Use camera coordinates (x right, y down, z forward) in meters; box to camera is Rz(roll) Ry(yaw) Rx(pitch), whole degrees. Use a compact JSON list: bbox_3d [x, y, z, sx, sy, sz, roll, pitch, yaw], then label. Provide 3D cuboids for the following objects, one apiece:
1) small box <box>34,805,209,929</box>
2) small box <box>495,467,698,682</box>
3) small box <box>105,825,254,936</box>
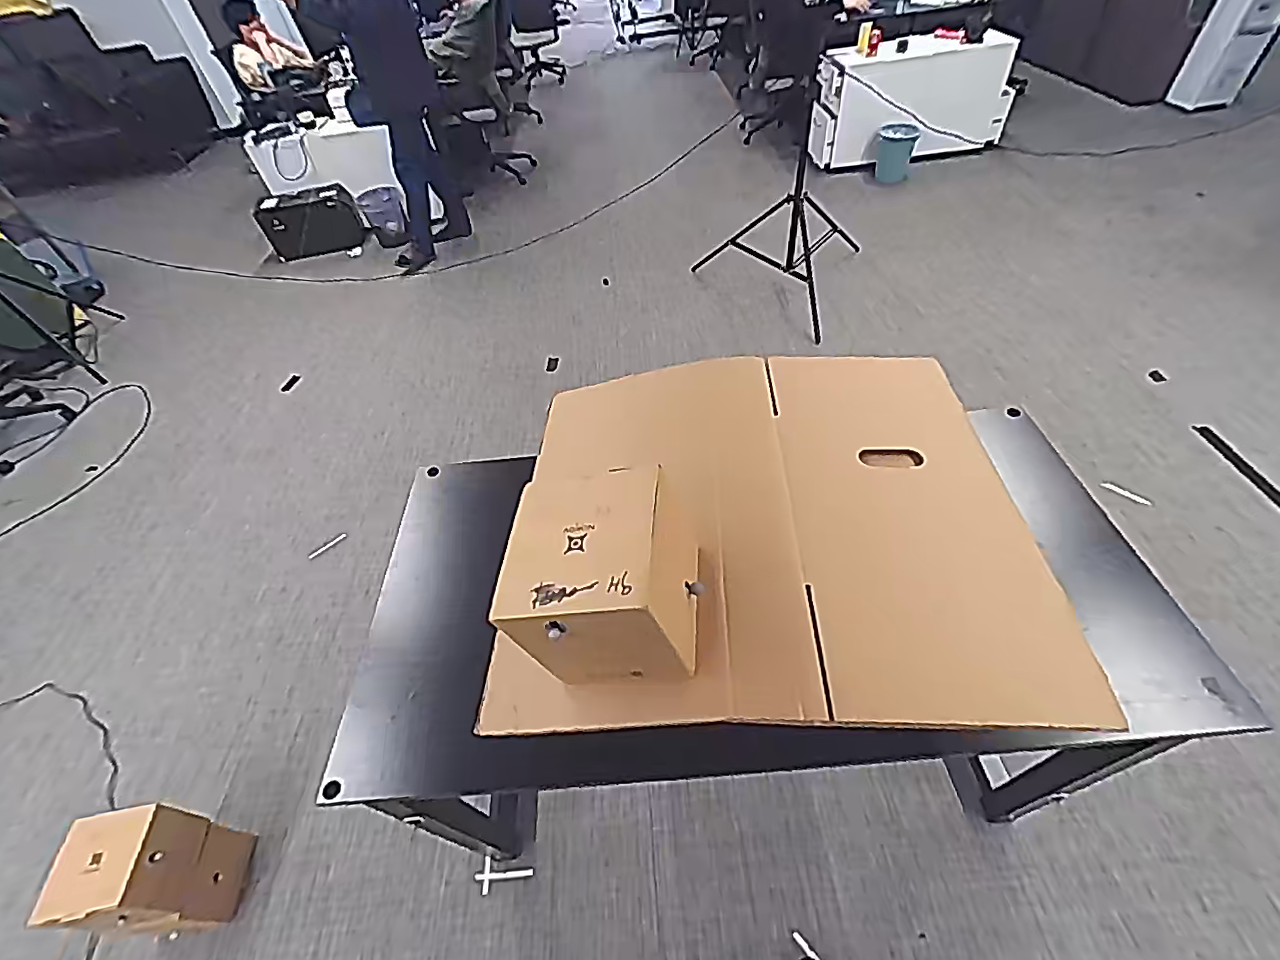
[{"bbox_3d":[-1.045,0.800,1.113,0.168,0.176,0.179,-11,47,-3],"label":"small box"},{"bbox_3d":[-0.034,0.112,0.618,0.168,0.176,0.179,-9,47,18],"label":"small box"},{"bbox_3d":[-1.027,0.912,1.230,0.168,0.176,0.179,-9,49,0],"label":"small box"}]
